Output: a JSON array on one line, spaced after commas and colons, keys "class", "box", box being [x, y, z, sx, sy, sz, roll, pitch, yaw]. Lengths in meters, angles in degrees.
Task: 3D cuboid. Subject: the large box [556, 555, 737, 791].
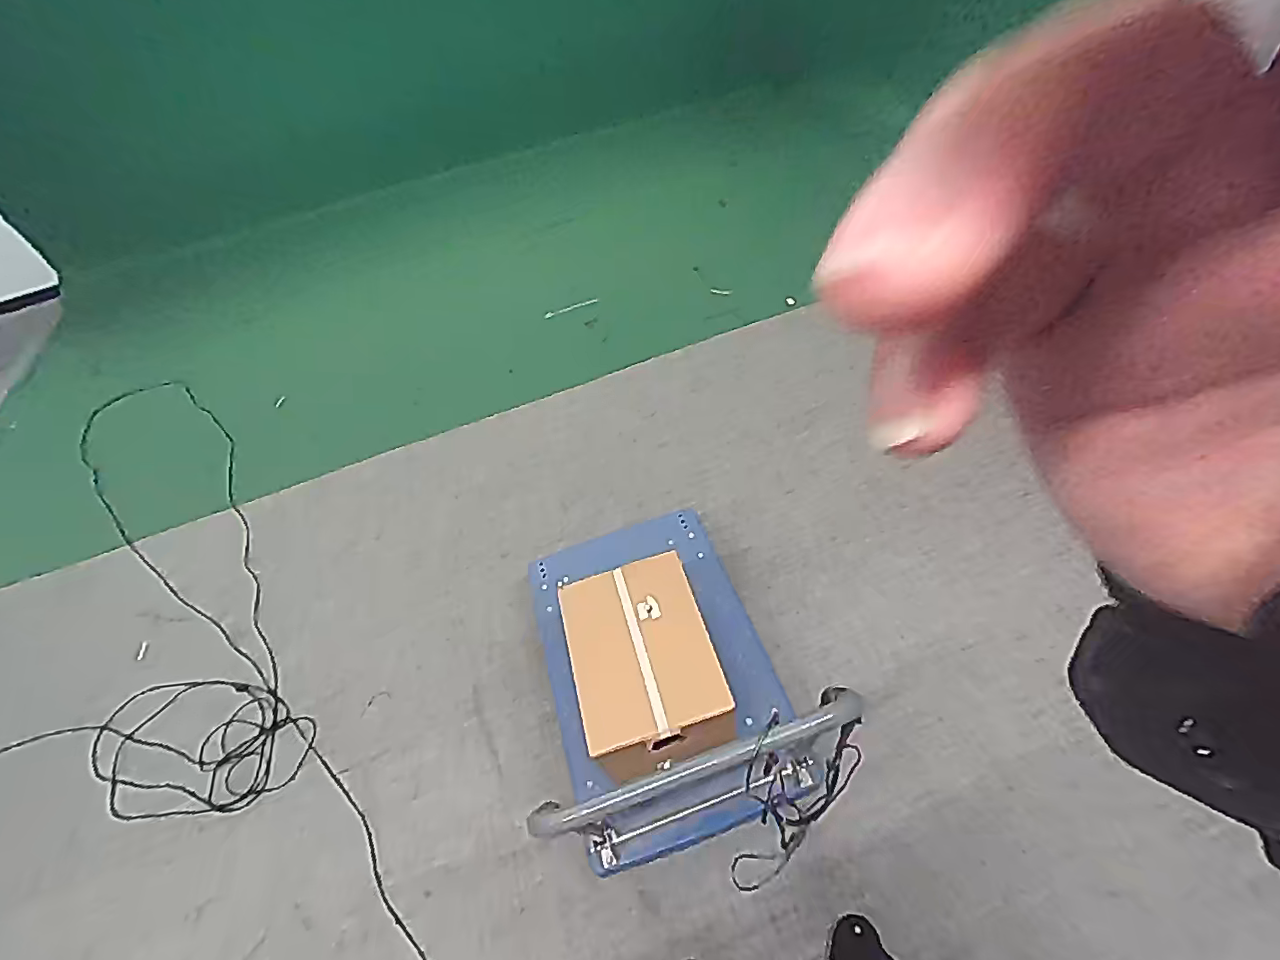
[{"class": "large box", "box": [0.017, 0.466, 1.315, 0.320, 0.320, 0.408, -17, 49, -4]}]
